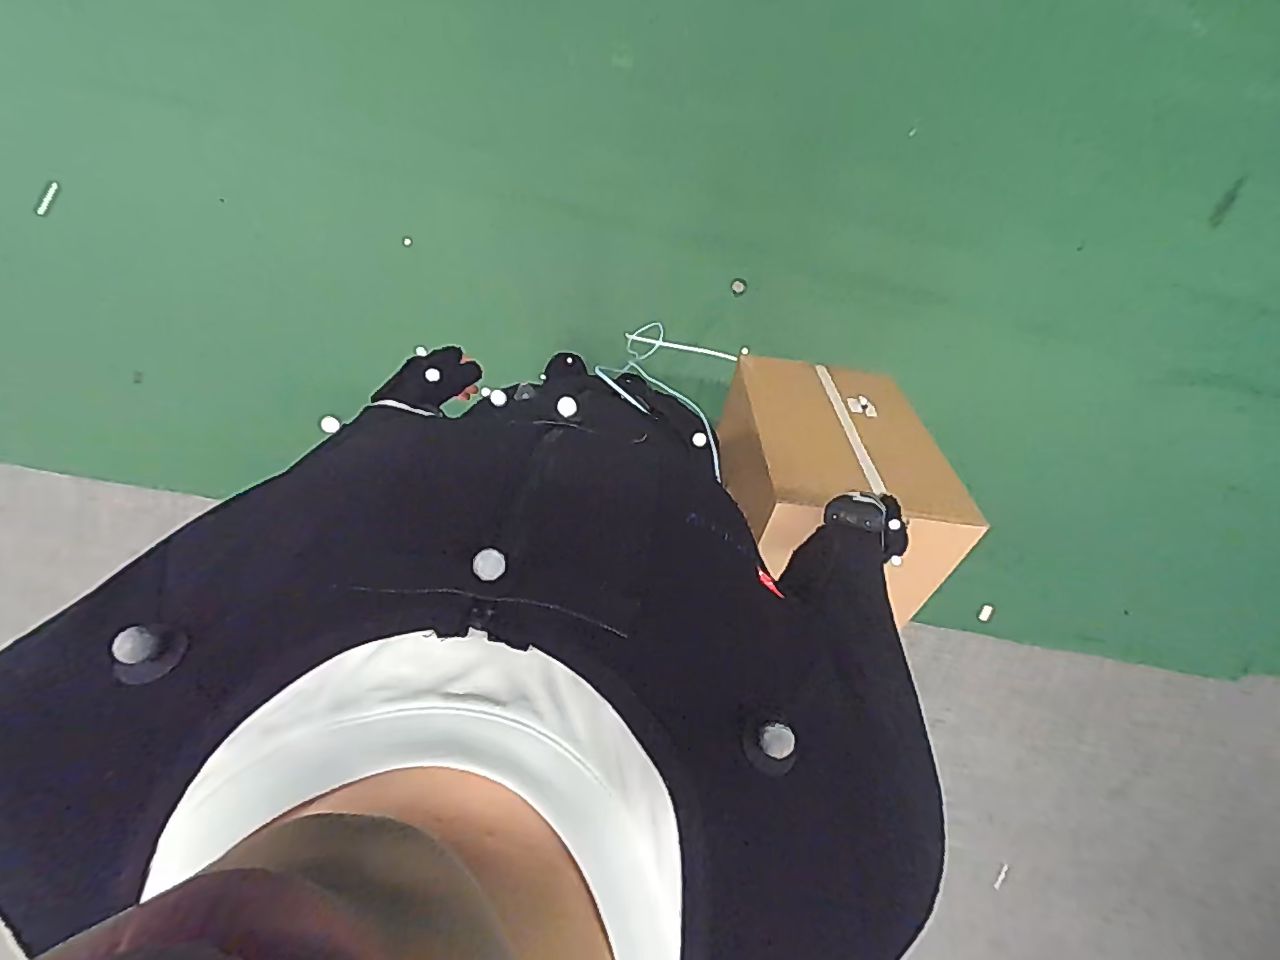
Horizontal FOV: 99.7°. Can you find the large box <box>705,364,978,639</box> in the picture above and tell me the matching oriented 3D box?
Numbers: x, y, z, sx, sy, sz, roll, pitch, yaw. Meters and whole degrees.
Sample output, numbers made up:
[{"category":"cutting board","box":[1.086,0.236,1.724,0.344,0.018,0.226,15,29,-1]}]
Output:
[{"category":"large box","box":[0.315,0.036,1.004,0.320,0.408,0.320,8,131,-6]}]
